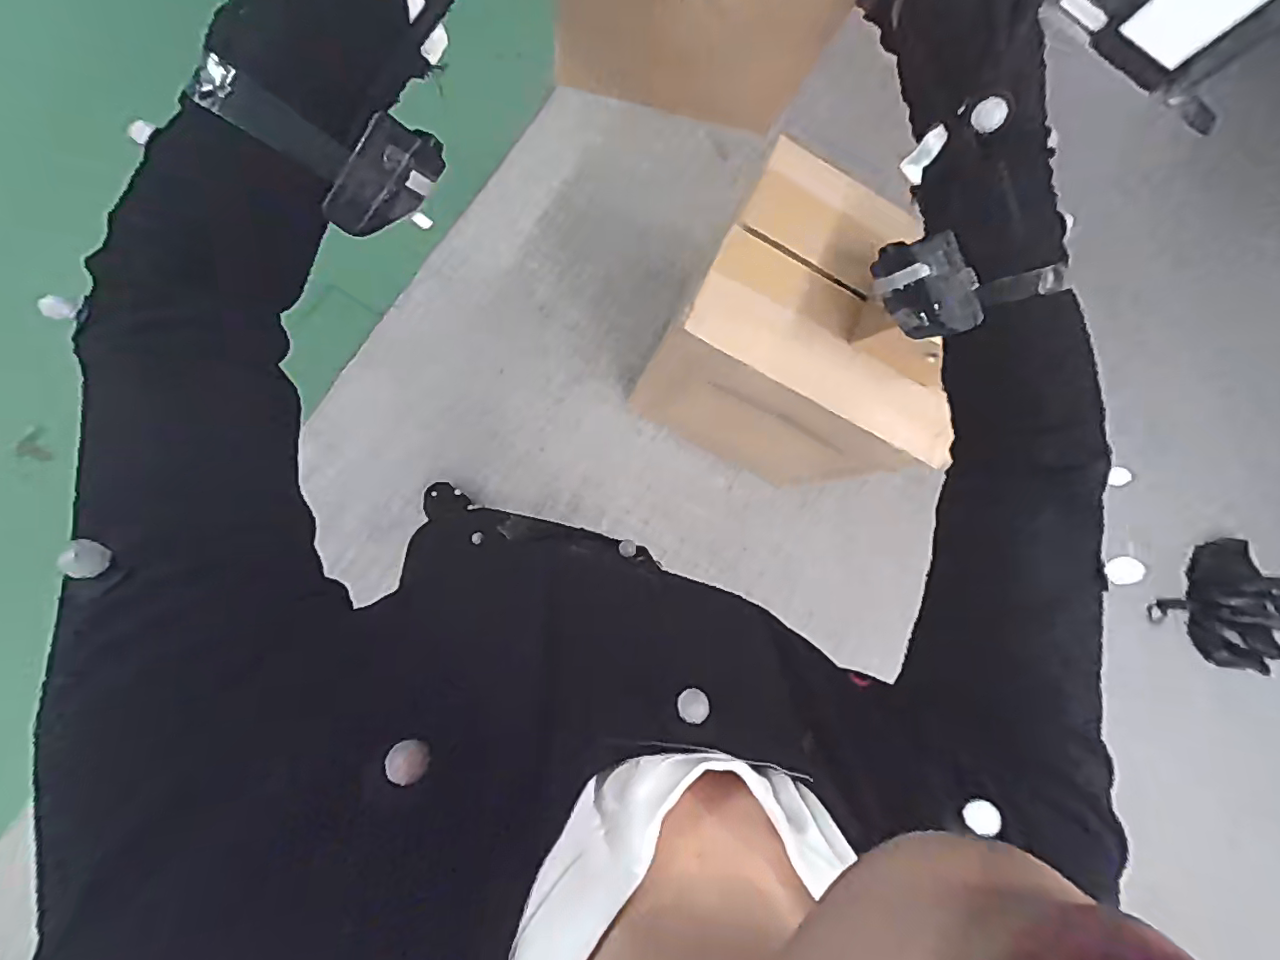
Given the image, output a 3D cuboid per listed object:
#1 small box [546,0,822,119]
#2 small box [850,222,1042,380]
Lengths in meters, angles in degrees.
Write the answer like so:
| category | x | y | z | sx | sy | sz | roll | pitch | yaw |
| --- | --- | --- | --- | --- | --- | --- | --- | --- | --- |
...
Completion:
| category | x | y | z | sx | sy | sz | roll | pitch | yaw |
| --- | --- | --- | --- | --- | --- | --- | --- | --- | --- |
| small box | 0.035 | -0.374 | 0.347 | 0.179 | 0.176 | 0.168 | 7 | 91 | -10 |
| small box | 0.475 | -0.270 | 0.868 | 0.179 | 0.176 | 0.168 | 24 | 92 | -9 |
